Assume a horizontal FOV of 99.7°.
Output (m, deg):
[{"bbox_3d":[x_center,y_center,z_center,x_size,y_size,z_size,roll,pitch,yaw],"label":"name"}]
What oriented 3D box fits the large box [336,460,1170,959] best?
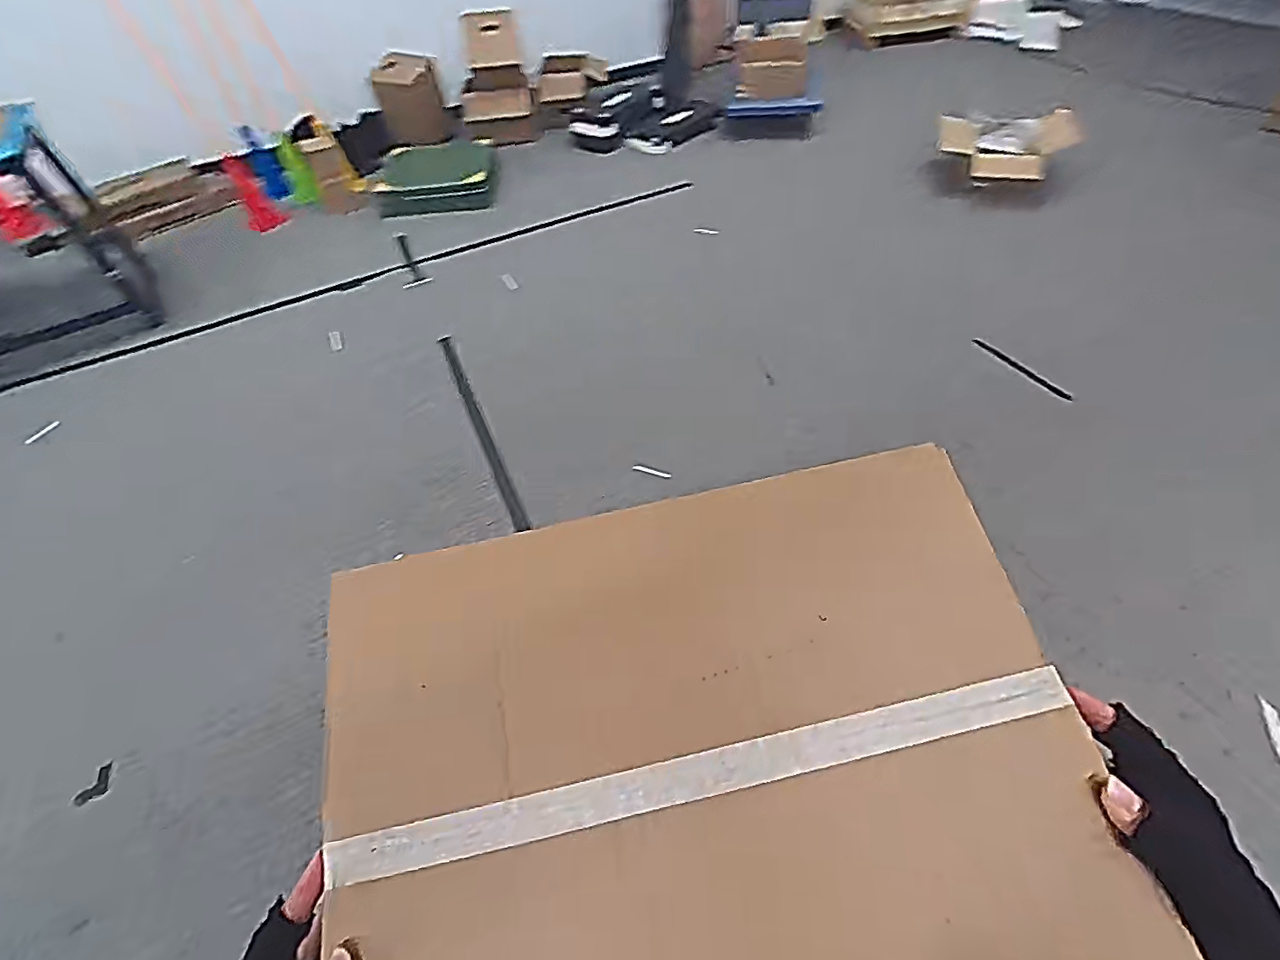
[{"bbox_3d":[0.041,0.226,0.434,0.408,0.320,0.320,-14,65,-3],"label":"large box"}]
